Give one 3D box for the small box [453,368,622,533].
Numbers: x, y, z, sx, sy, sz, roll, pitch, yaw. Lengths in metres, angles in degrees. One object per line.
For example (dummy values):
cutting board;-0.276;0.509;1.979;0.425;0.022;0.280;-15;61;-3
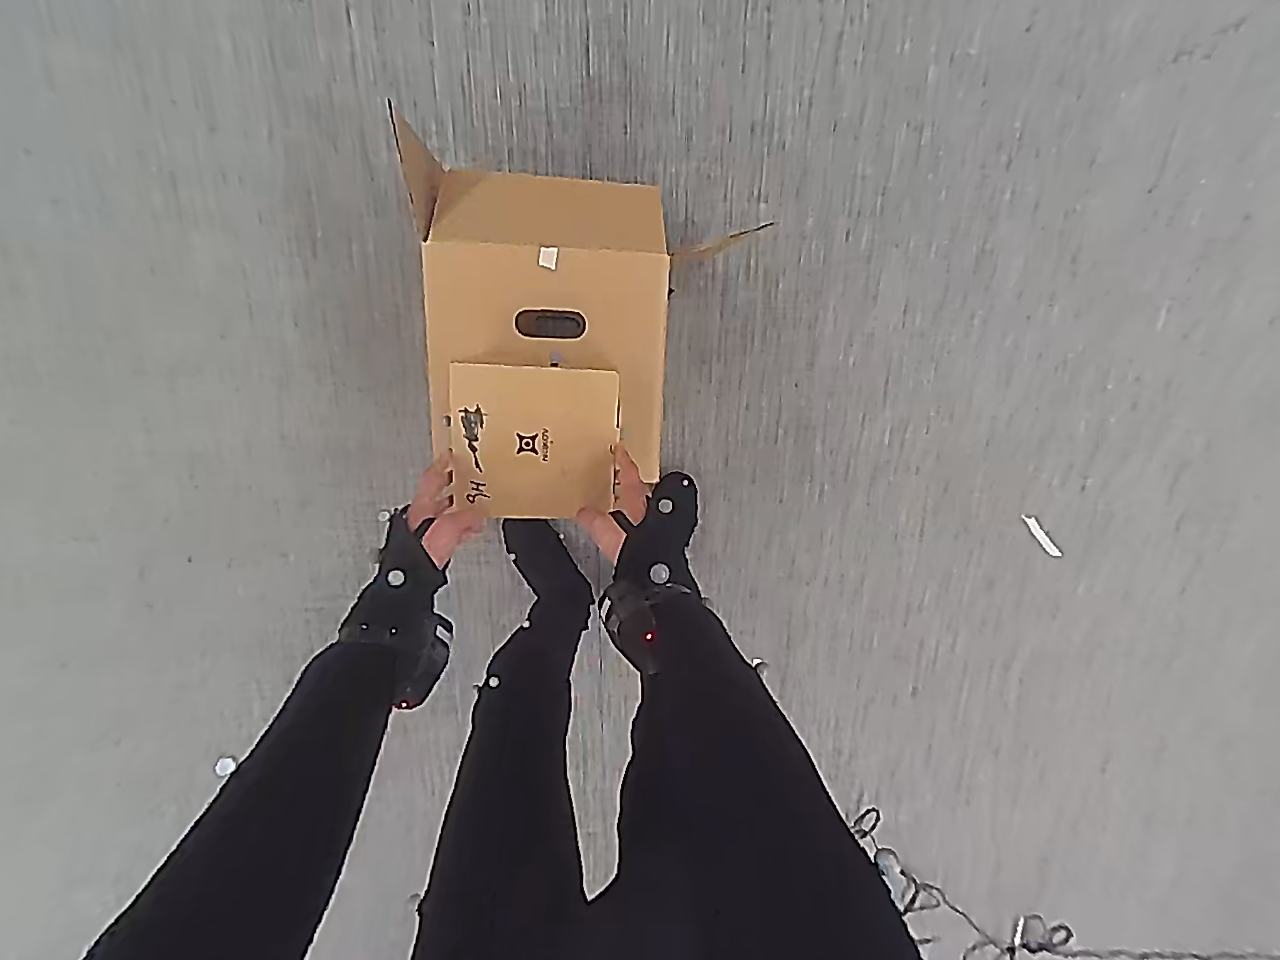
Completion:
small box;-0.120;-0.044;0.658;0.179;0.176;0.168;2;106;-7
